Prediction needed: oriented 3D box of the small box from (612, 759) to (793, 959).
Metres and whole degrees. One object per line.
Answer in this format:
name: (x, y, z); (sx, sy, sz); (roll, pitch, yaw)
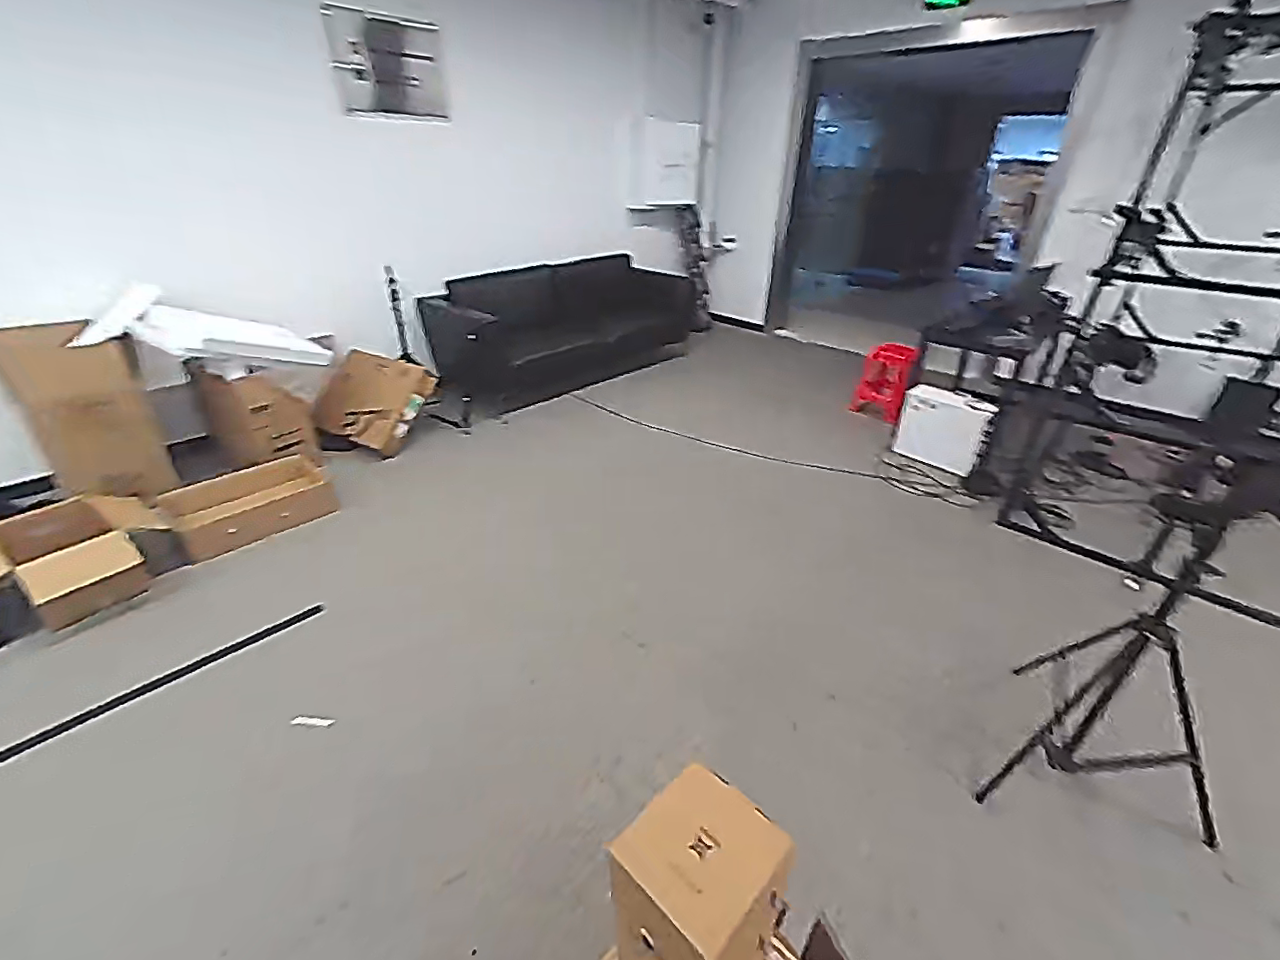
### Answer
small box: (0.080, 0.532, 0.725); (0.168, 0.176, 0.179); (25, 39, 38)

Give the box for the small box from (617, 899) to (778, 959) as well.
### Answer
small box: (0.081, 0.671, 0.808); (0.168, 0.176, 0.179); (25, 39, 38)
